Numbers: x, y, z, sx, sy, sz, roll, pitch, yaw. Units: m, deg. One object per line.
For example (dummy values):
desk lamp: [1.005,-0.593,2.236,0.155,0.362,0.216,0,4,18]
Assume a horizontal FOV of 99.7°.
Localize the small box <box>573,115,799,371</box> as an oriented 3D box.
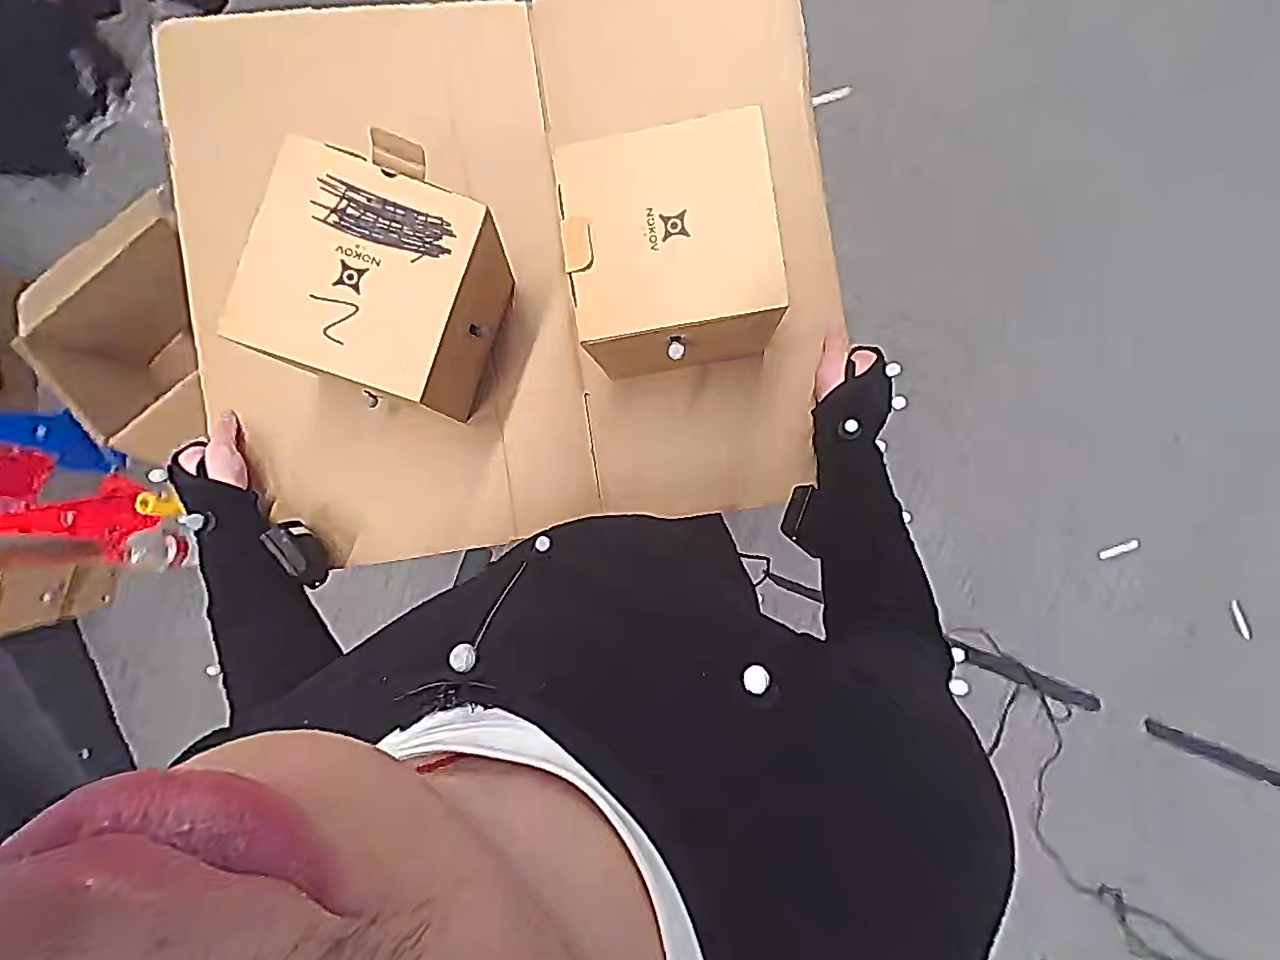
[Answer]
small box: [0.045,-0.212,0.534,0.179,0.176,0.168,-8,90,7]
